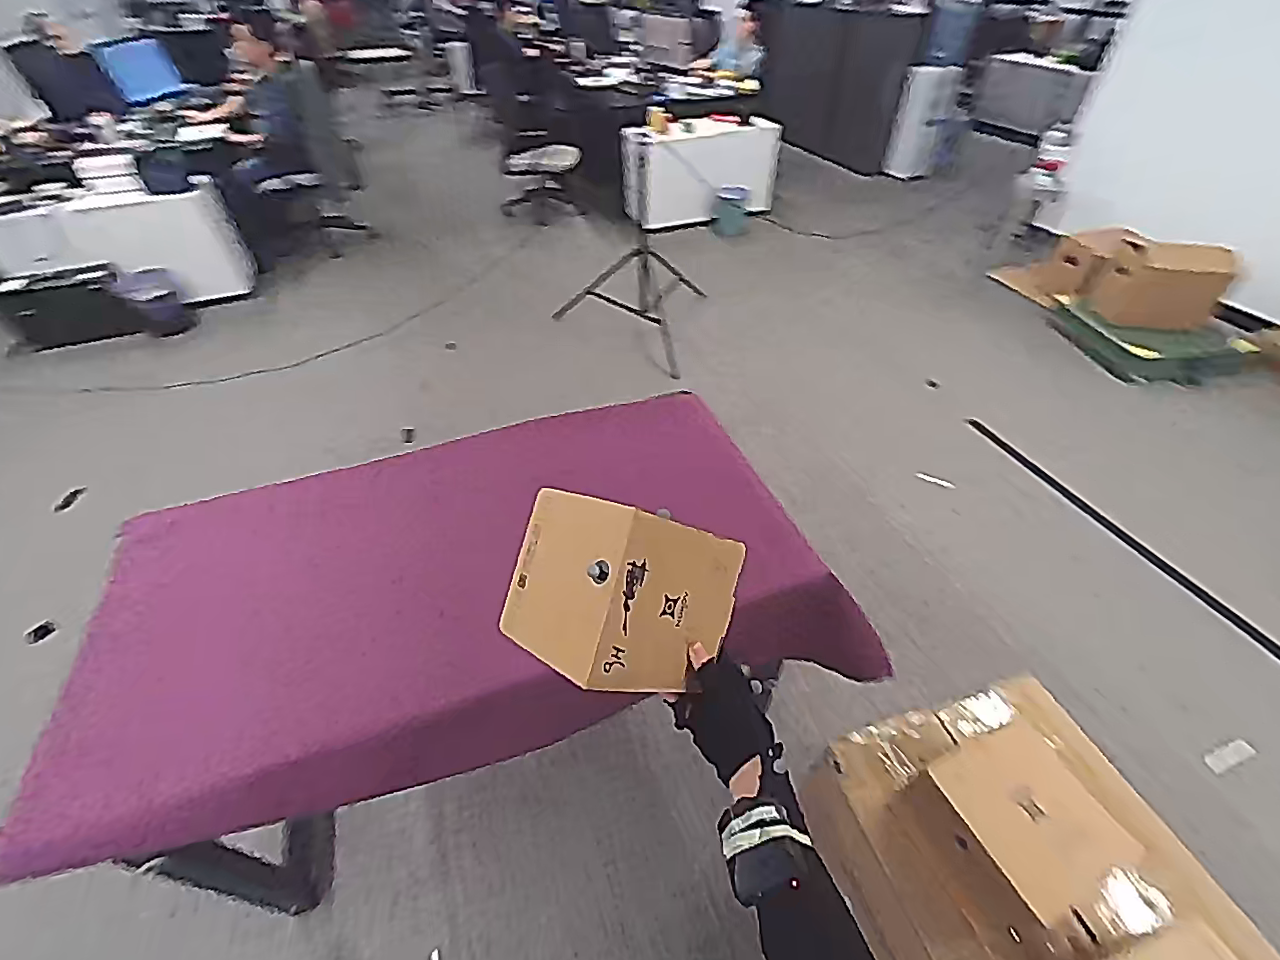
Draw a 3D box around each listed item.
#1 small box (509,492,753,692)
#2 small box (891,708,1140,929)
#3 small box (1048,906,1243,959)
[{"bbox_3d":[-0.010,0.117,0.591,0.176,0.179,0.168,9,80,49],"label":"small box"},{"bbox_3d":[0.466,0.442,0.708,0.168,0.176,0.179,-20,48,-15],"label":"small box"},{"bbox_3d":[0.544,0.586,0.555,0.168,0.176,0.179,-15,44,-13],"label":"small box"}]
